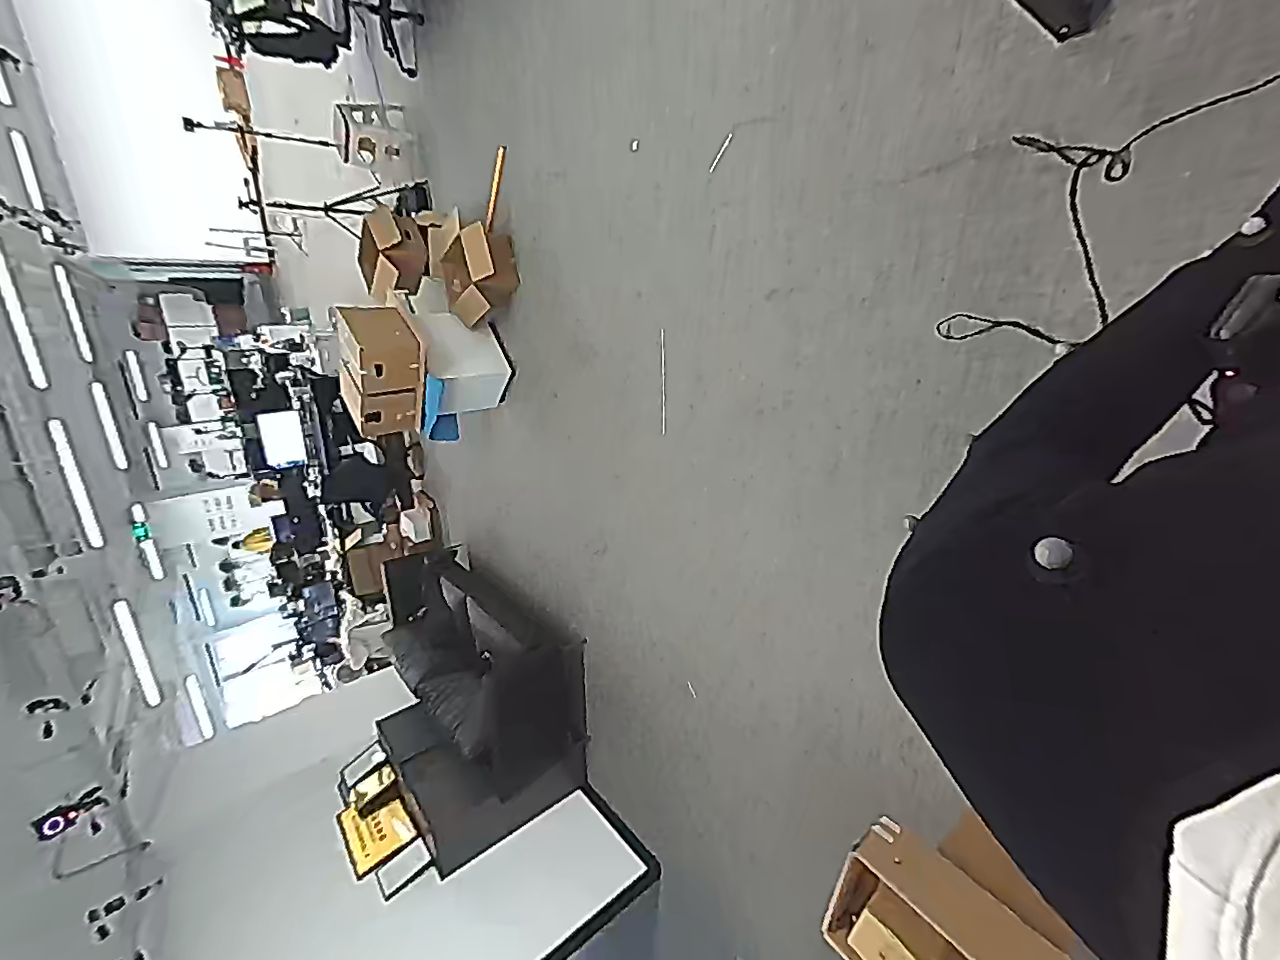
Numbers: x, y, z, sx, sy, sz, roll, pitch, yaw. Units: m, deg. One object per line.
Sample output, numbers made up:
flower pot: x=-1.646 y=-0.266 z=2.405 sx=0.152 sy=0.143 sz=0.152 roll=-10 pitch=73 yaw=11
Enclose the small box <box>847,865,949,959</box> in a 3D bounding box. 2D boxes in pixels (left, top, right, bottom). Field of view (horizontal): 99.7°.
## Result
small box: x=0.690 y=1.195 z=1.445 sx=0.168 sy=0.176 sz=0.179 roll=33 pitch=126 yaw=40
